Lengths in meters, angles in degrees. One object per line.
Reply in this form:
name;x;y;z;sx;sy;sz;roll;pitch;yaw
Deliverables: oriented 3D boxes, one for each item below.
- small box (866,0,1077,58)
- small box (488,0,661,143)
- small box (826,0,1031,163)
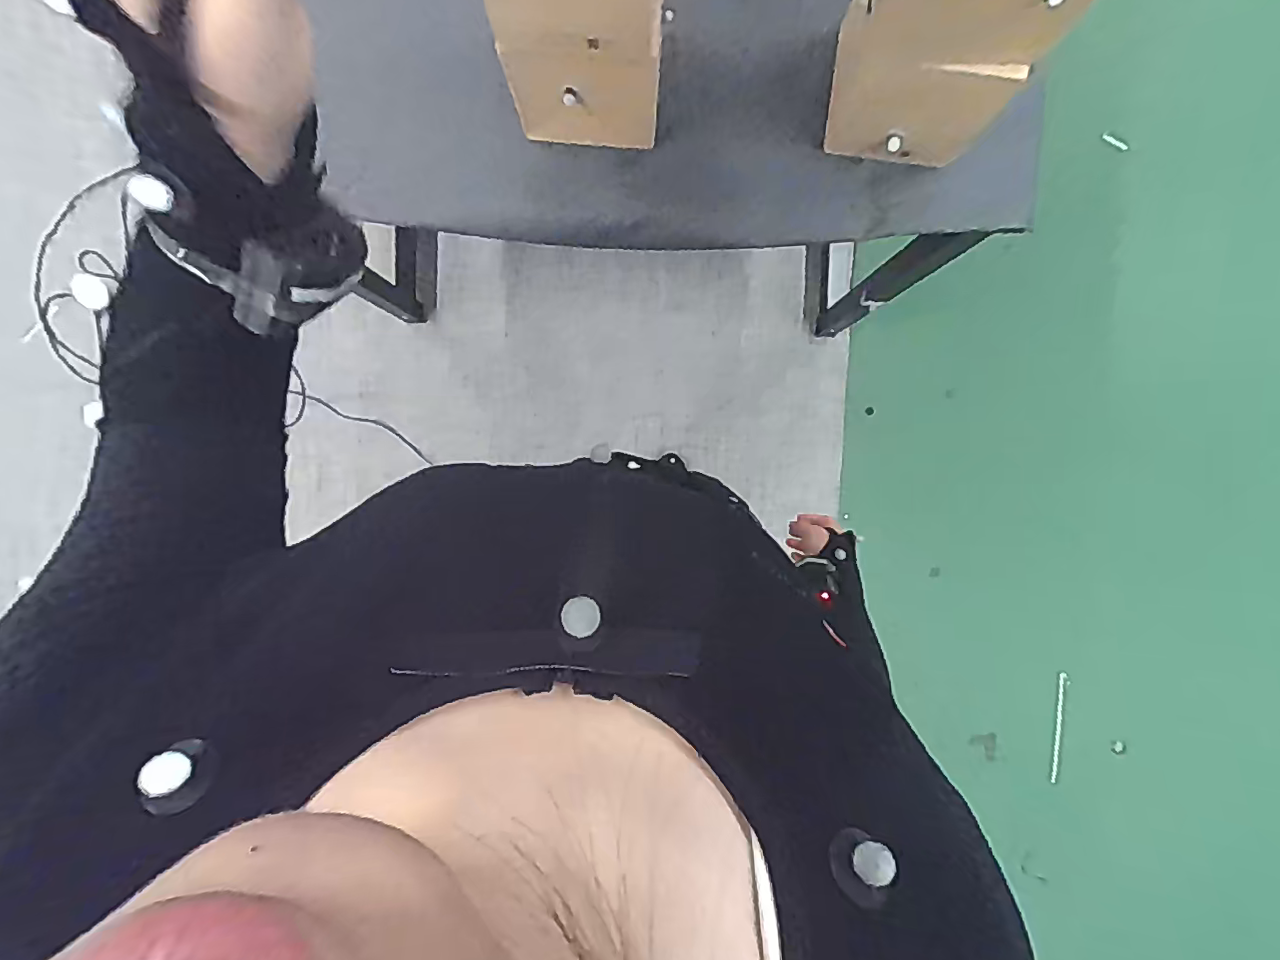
small box;0.324;-0.521;0.485;0.179;0.176;0.168;0;89;2
small box;-0.067;-0.538;0.651;0.179;0.176;0.168;4;91;1
small box;0.336;-0.521;0.647;0.168;0.176;0.179;8;91;1
